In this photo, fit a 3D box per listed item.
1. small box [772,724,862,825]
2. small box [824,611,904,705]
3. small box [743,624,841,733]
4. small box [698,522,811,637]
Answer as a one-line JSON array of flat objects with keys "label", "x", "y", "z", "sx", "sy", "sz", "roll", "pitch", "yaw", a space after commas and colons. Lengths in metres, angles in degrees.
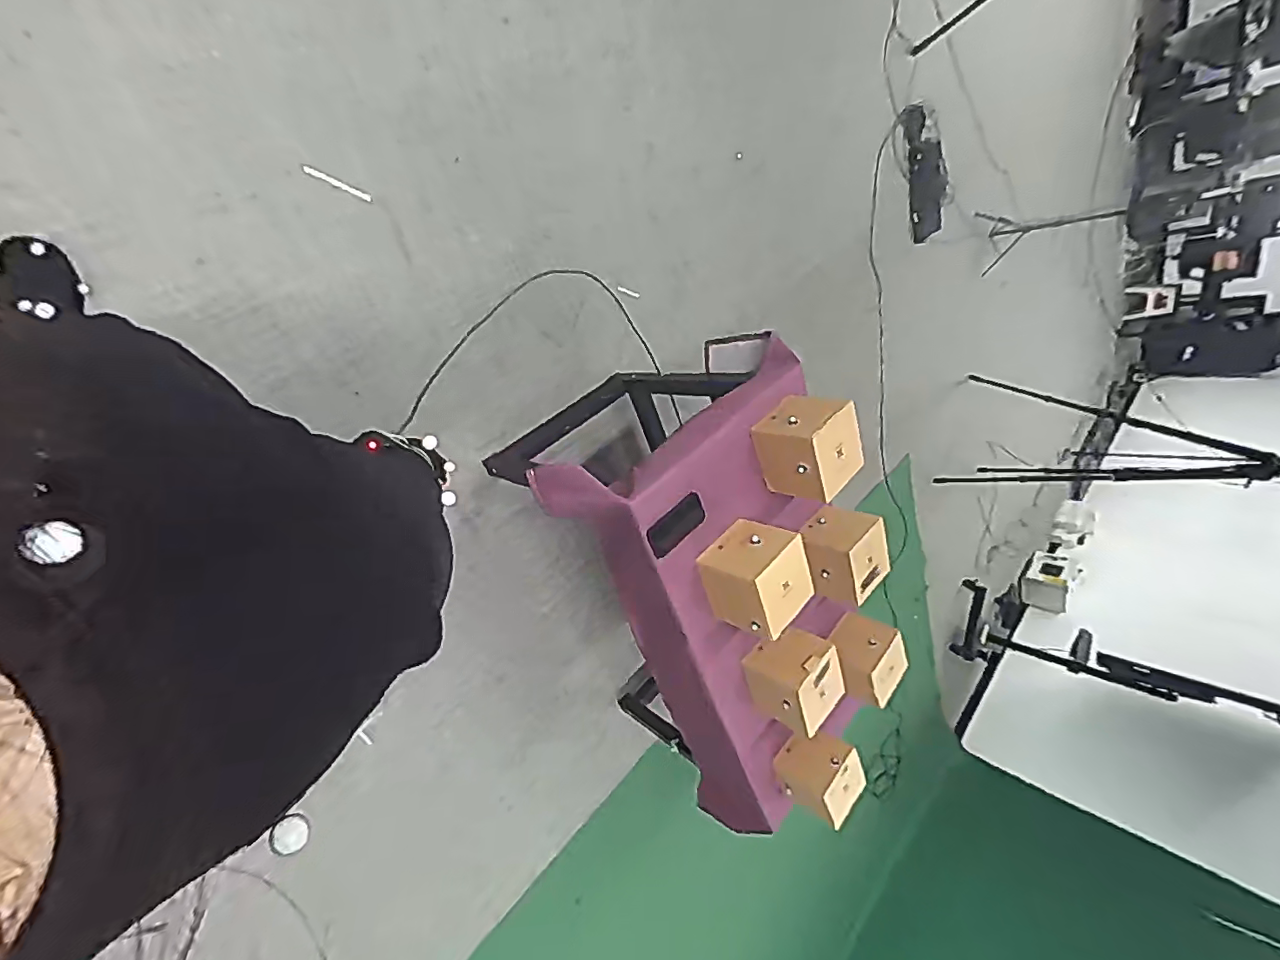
[{"label": "small box", "x": 0.503, "y": 0.822, "z": 1.540, "sx": 0.168, "sy": 0.176, "sz": 0.179, "roll": -40, "pitch": 122, "yaw": -28}, {"label": "small box", "x": 0.658, "y": 0.521, "z": 1.611, "sx": 0.179, "sy": 0.176, "sz": 0.168, "roll": -41, "pitch": 122, "yaw": -27}, {"label": "small box", "x": 0.383, "y": 0.490, "z": 1.372, "sx": 0.168, "sy": 0.176, "sz": 0.179, "roll": -36, "pitch": 121, "yaw": -30}, {"label": "small box", "x": 0.252, "y": 0.209, "z": 1.204, "sx": 0.168, "sy": 0.176, "sz": 0.179, "roll": -38, "pitch": 122, "yaw": -29}]
